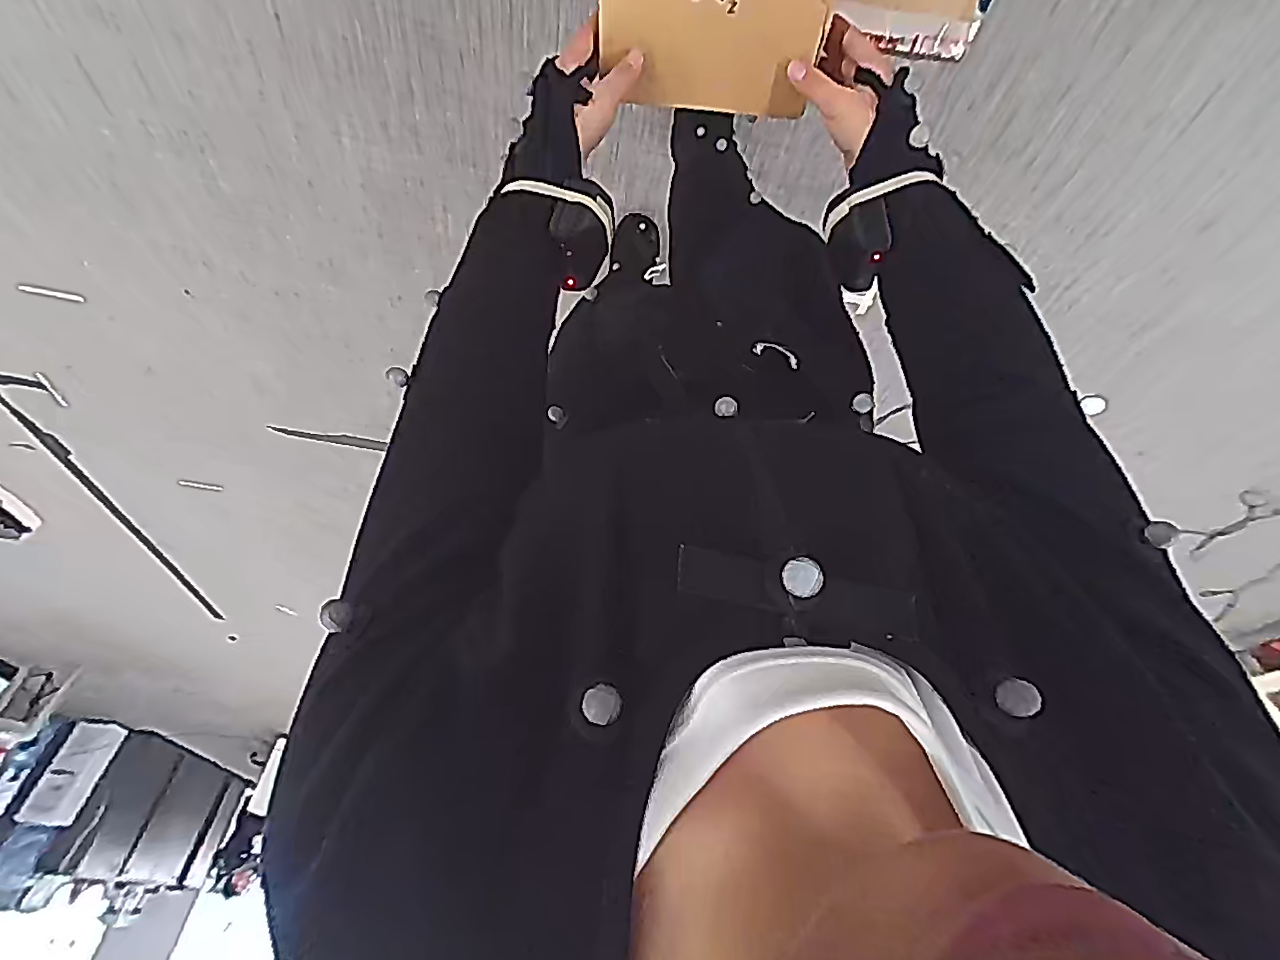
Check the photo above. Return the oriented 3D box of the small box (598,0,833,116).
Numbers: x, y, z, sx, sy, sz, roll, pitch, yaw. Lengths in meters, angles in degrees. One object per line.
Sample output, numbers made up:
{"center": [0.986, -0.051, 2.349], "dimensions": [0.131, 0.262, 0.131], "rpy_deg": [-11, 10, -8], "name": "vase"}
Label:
{"center": [0.062, -0.427, 0.439], "dimensions": [0.179, 0.176, 0.168], "rpy_deg": [5, 143, 0], "name": "small box"}
